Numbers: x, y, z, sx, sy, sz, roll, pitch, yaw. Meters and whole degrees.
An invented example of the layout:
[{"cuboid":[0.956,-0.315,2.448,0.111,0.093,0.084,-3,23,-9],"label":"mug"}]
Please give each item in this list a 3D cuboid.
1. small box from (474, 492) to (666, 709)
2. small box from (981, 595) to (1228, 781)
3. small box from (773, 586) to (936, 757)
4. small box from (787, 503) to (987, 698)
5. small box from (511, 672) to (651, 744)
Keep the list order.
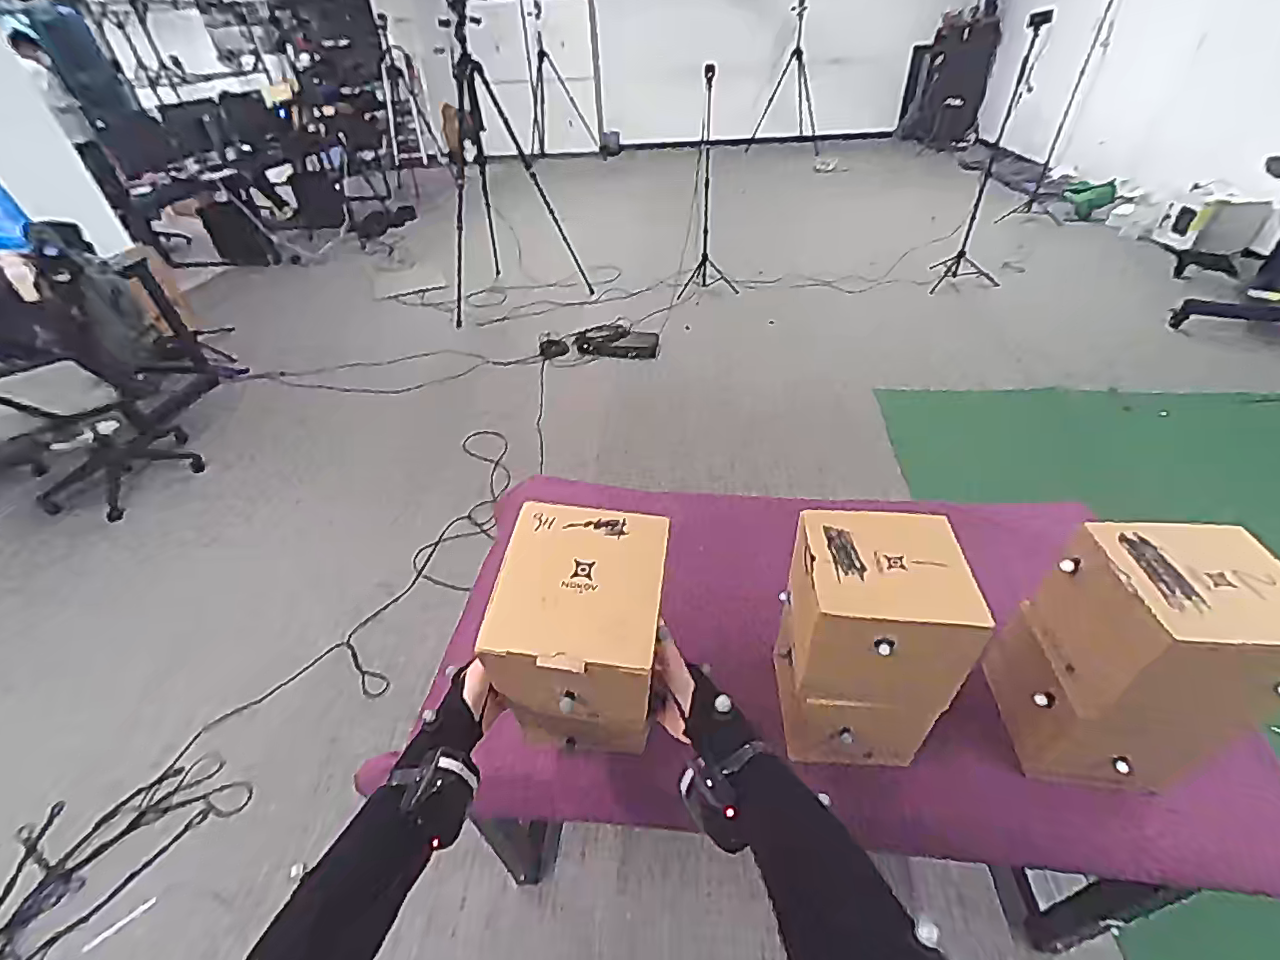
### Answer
[{"cuboid":[-0.063,0.139,0.608,0.168,0.176,0.179,7,50,4],"label":"small box"},{"cuboid":[0.602,0.282,0.735,0.168,0.176,0.179,3,40,8],"label":"small box"},{"cuboid":[0.289,0.273,0.772,0.168,0.176,0.179,0,39,5],"label":"small box"},{"cuboid":[0.280,0.147,0.666,0.179,0.176,0.168,3,40,7],"label":"small box"},{"cuboid":[-0.071,0.241,0.741,0.168,0.176,0.179,5,50,-1],"label":"small box"}]
